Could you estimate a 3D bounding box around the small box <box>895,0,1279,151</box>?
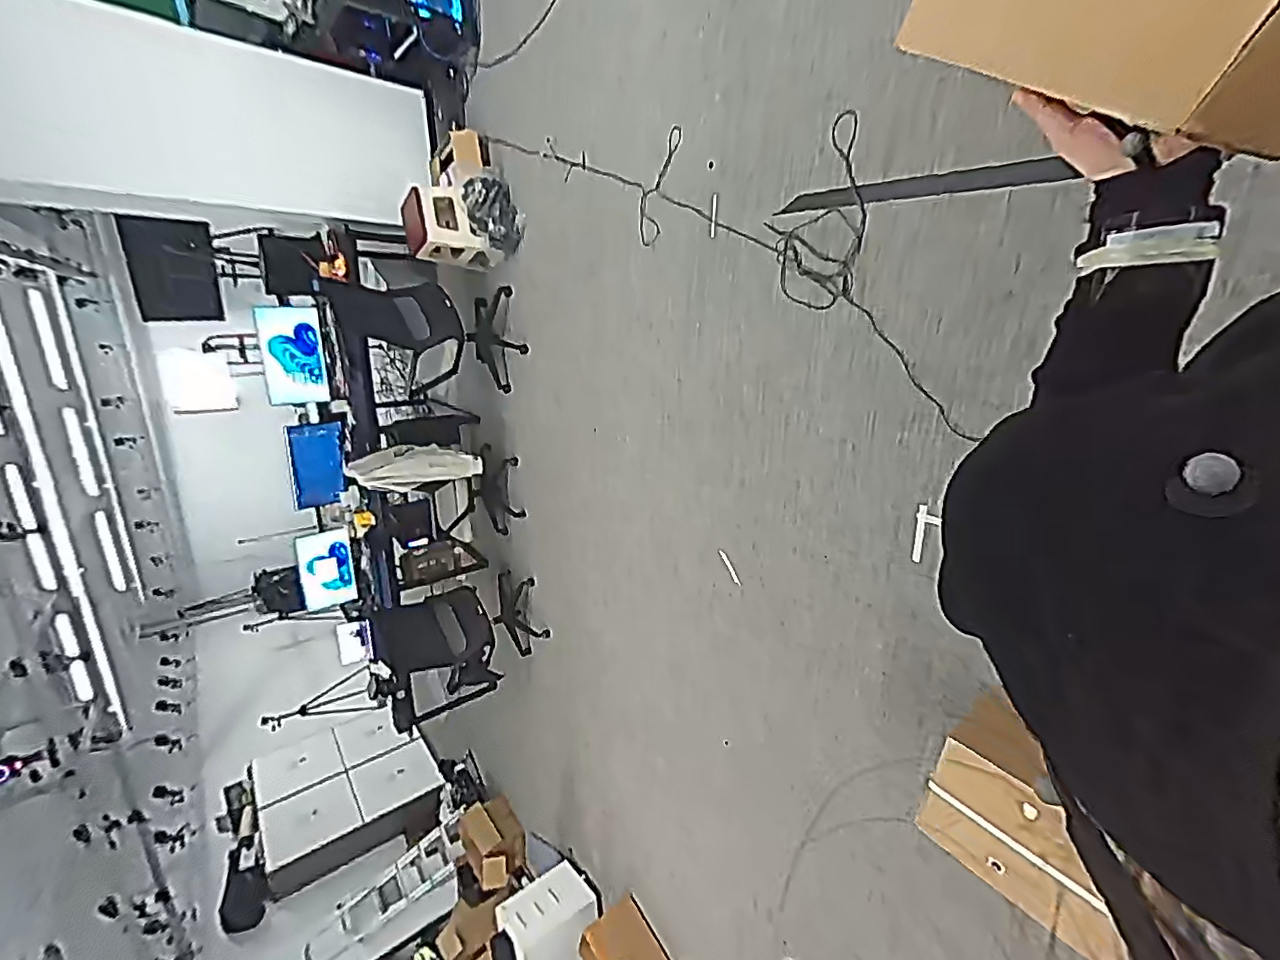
[{"bbox_3d":[0.286,-0.287,0.278,0.179,0.176,0.168,55,144,35],"label":"small box"}]
